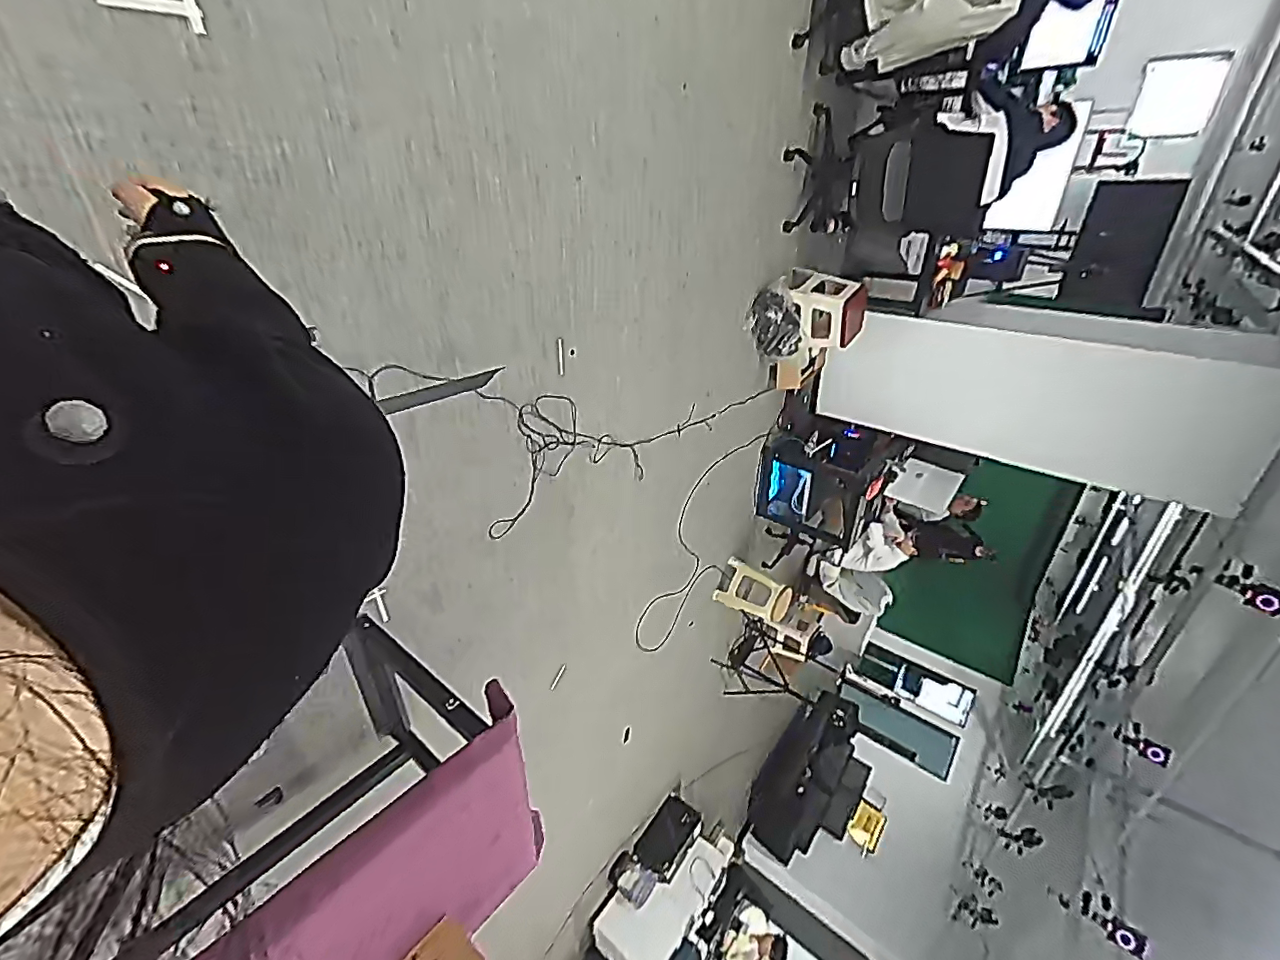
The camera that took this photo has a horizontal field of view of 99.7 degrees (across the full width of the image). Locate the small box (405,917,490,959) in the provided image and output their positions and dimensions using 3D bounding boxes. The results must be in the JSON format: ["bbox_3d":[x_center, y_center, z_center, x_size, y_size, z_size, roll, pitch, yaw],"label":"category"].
[{"bbox_3d":[-0.461,1.204,1.290,0.168,0.176,0.179,-31,129,-42],"label":"small box"}]
